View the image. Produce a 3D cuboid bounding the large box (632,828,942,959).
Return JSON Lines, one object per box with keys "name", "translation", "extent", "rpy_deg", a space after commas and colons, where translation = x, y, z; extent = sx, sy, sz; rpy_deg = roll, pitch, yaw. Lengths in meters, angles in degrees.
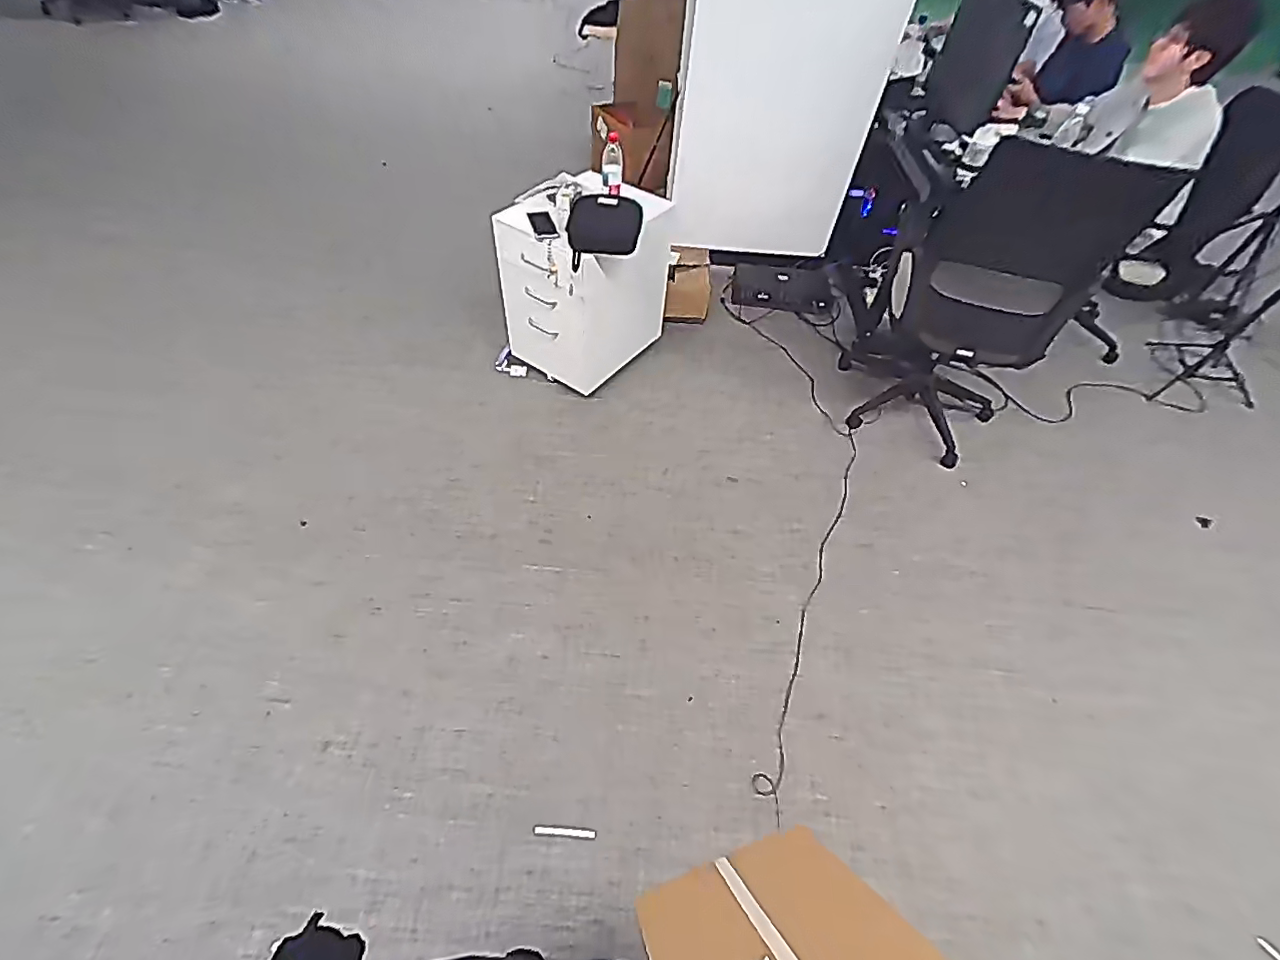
{"name": "large box", "translation": [0.208, 0.747, 0.696], "extent": [0.320, 0.408, 0.320], "rpy_deg": [-15, 83, -13]}
